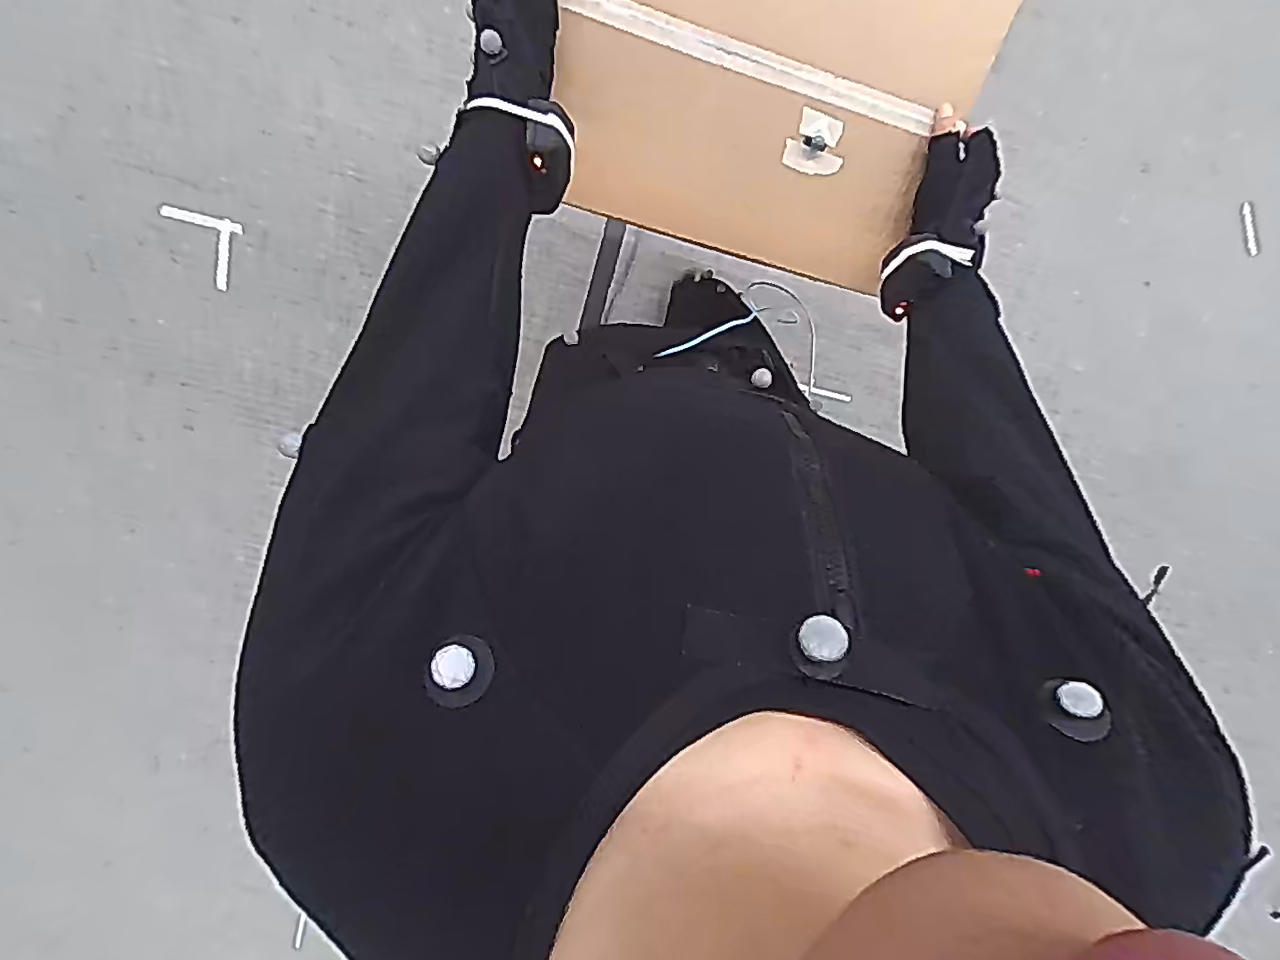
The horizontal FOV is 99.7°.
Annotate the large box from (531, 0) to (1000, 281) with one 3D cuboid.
[{"bbox_3d":[0.105,-0.457,0.643,0.408,0.320,0.320,12,116,-10],"label":"large box"}]
